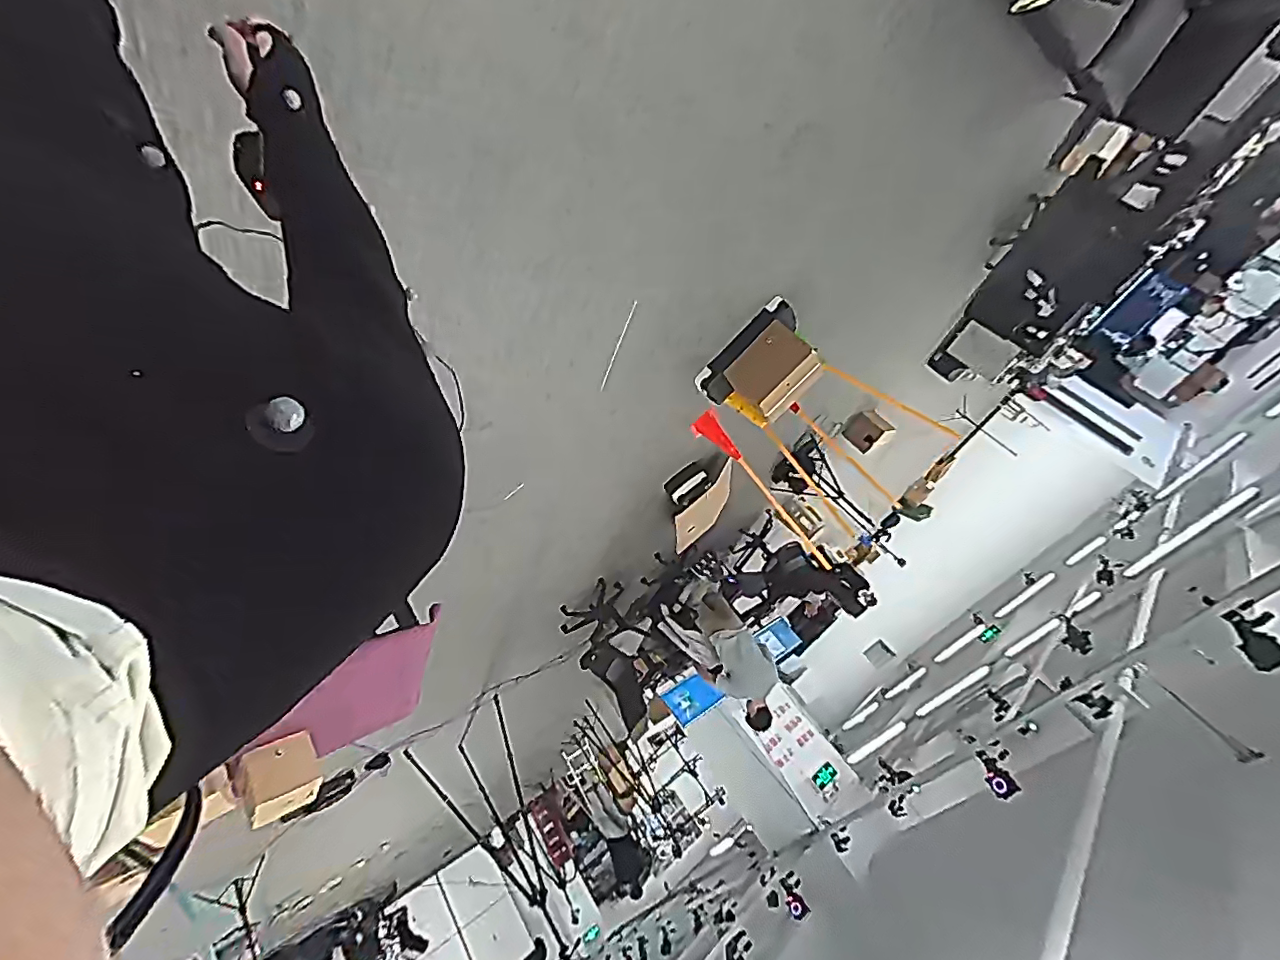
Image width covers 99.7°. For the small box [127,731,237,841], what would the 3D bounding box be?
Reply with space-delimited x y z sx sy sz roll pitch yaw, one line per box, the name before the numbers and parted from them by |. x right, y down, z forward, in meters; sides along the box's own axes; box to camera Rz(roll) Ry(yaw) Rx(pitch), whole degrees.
small box | -1.168 0.777 1.385 0.168 0.176 0.179 -22 149 -35

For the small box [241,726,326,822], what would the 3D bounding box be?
small box | -1.103 0.899 1.665 0.179 0.176 0.168 -7 138 -48
